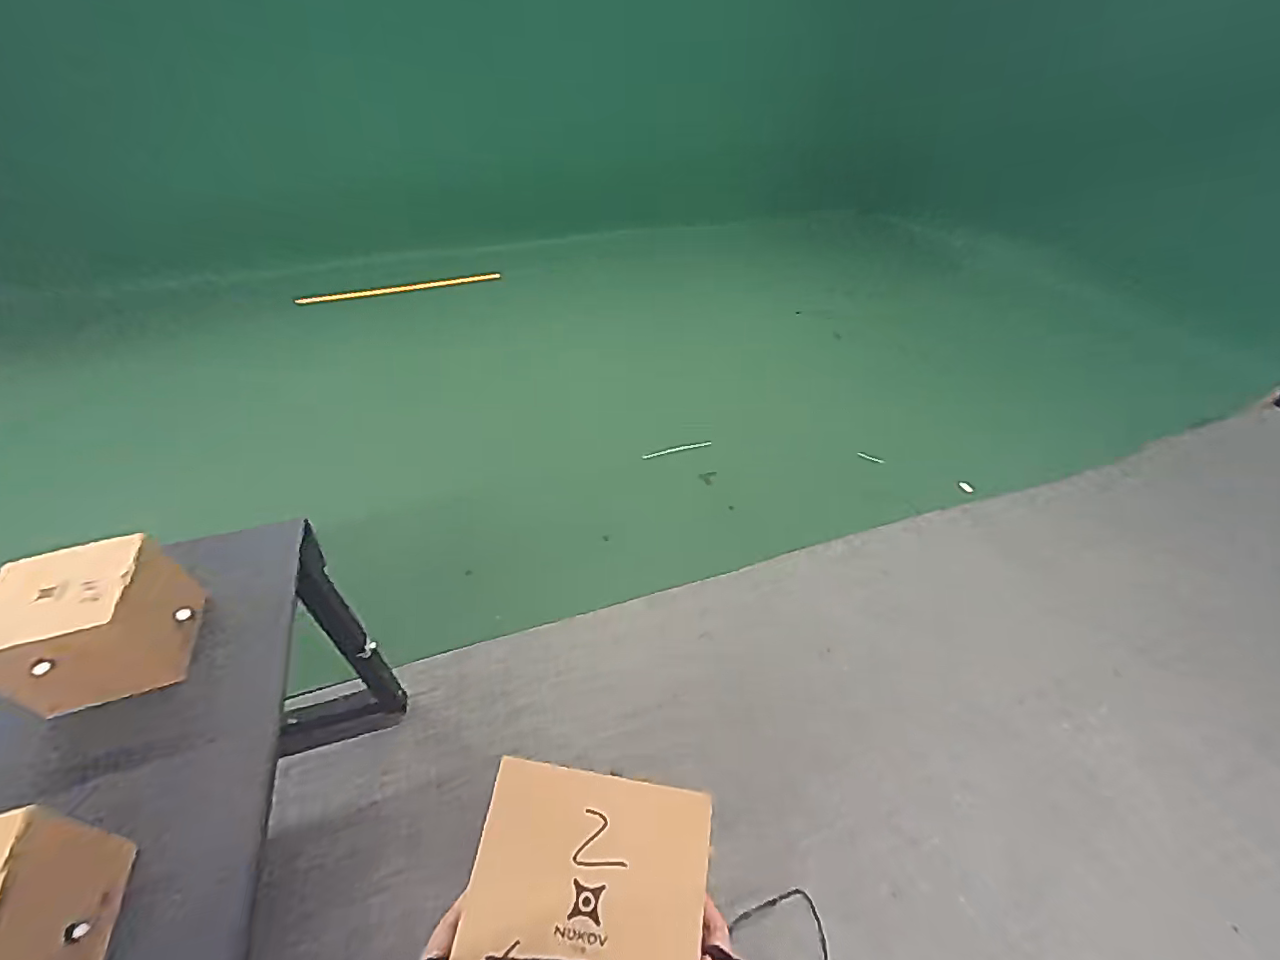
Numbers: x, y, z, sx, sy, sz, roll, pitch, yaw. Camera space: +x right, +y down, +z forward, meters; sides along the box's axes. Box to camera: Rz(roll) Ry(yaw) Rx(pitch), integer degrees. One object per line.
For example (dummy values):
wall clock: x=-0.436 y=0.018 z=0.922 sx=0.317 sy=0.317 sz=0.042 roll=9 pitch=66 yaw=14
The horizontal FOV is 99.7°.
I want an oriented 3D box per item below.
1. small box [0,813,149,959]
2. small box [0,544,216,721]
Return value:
small box: x=-0.671 y=0.479 z=0.549 sx=0.179 sy=0.176 sz=0.168 roll=-14 pitch=45 yaw=-12
small box: x=-0.790 y=0.229 z=0.806 sx=0.179 sy=0.176 sz=0.168 roll=-15 pitch=47 yaw=-13
